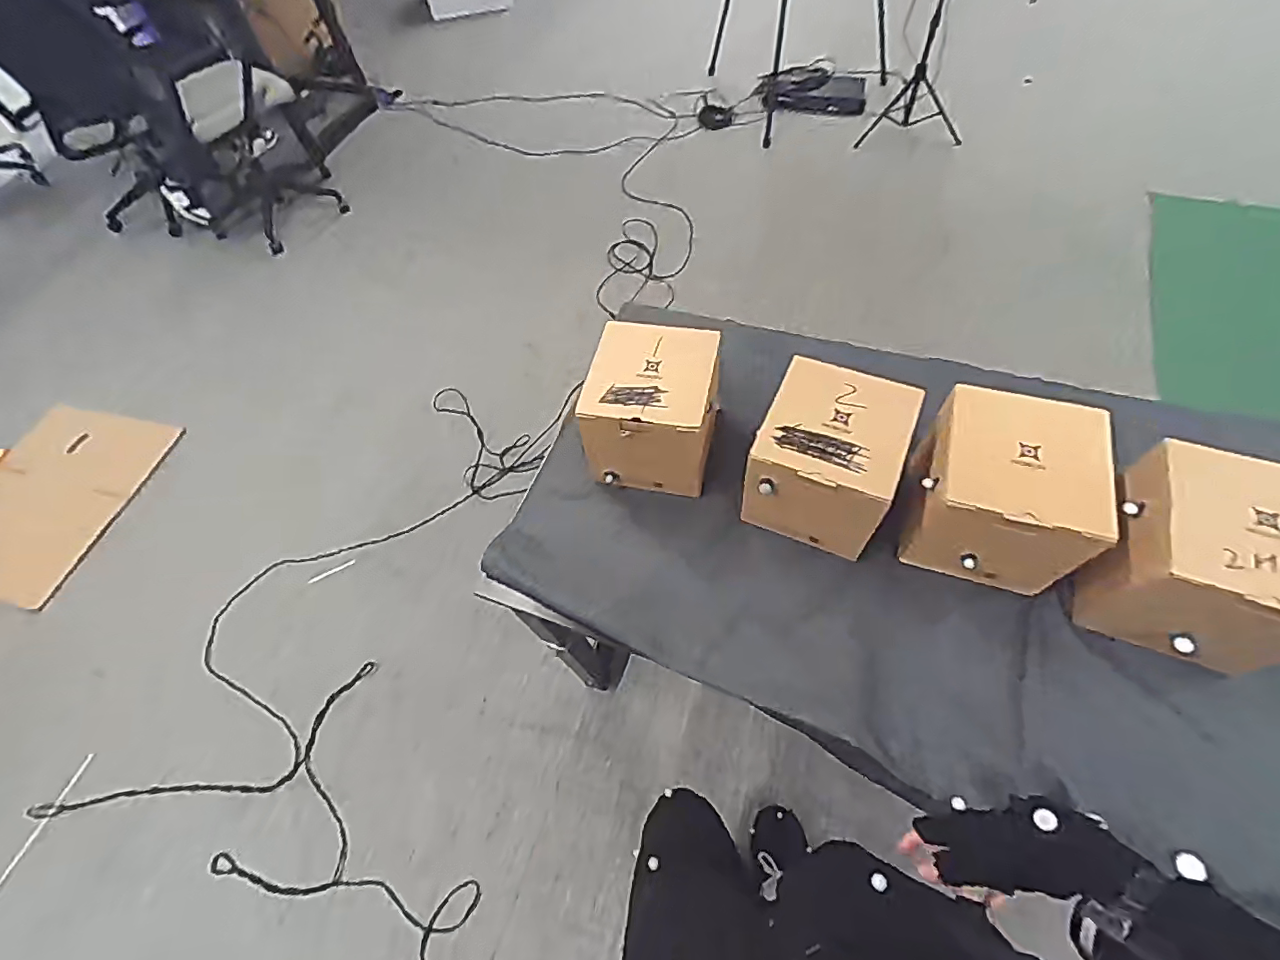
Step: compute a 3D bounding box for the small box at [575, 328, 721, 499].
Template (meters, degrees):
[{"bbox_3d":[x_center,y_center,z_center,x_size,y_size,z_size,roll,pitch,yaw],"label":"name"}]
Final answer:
[{"bbox_3d":[0.022,-0.092,0.784,0.168,0.176,0.179,9,59,11],"label":"small box"}]
